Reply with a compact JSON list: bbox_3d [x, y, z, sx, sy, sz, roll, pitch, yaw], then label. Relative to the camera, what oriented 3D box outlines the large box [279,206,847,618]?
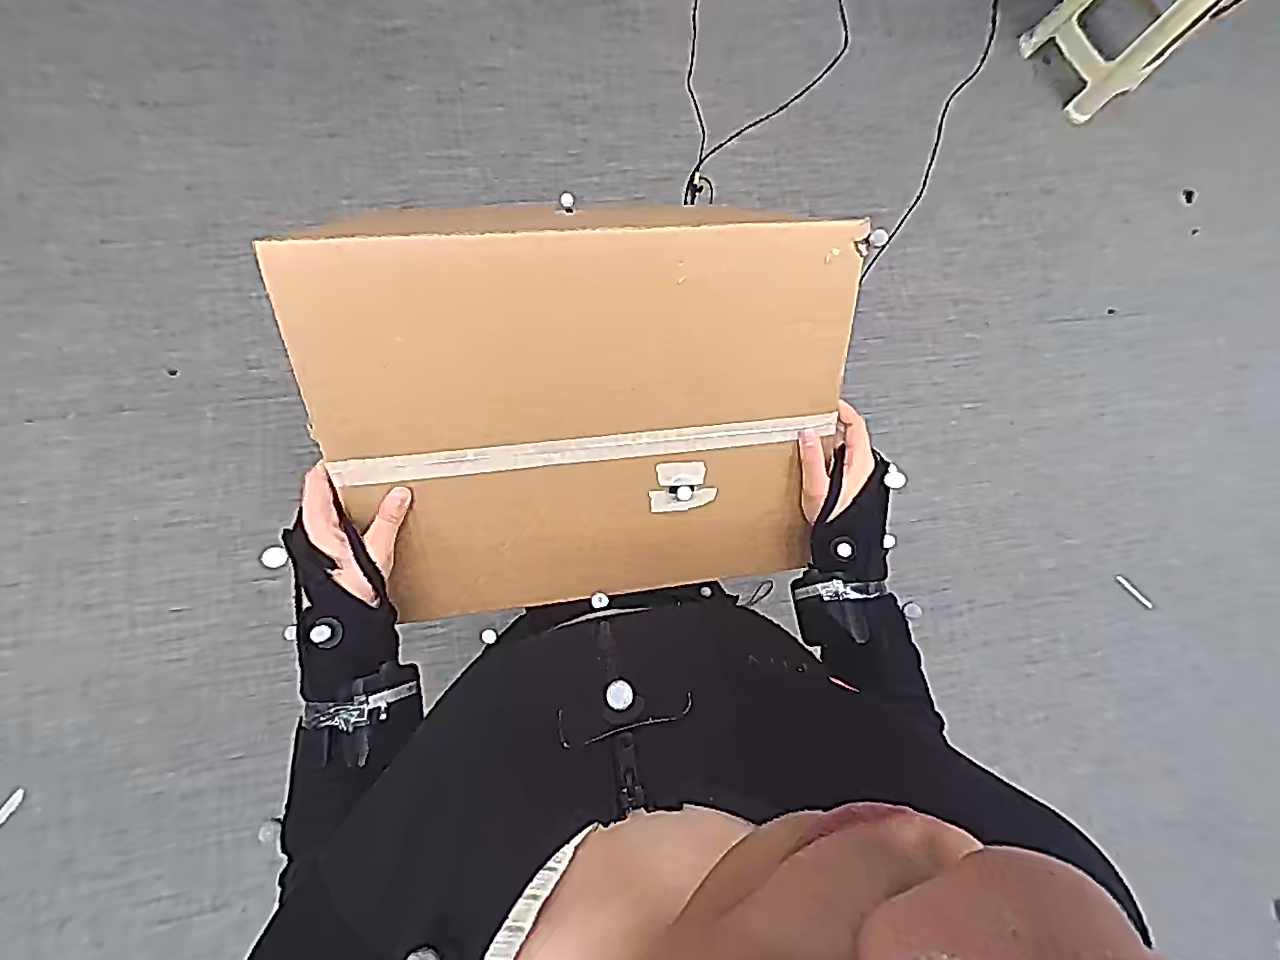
[{"bbox_3d":[-0.064,-0.104,0.572,0.408,0.320,0.320,-8,121,-10],"label":"large box"}]
